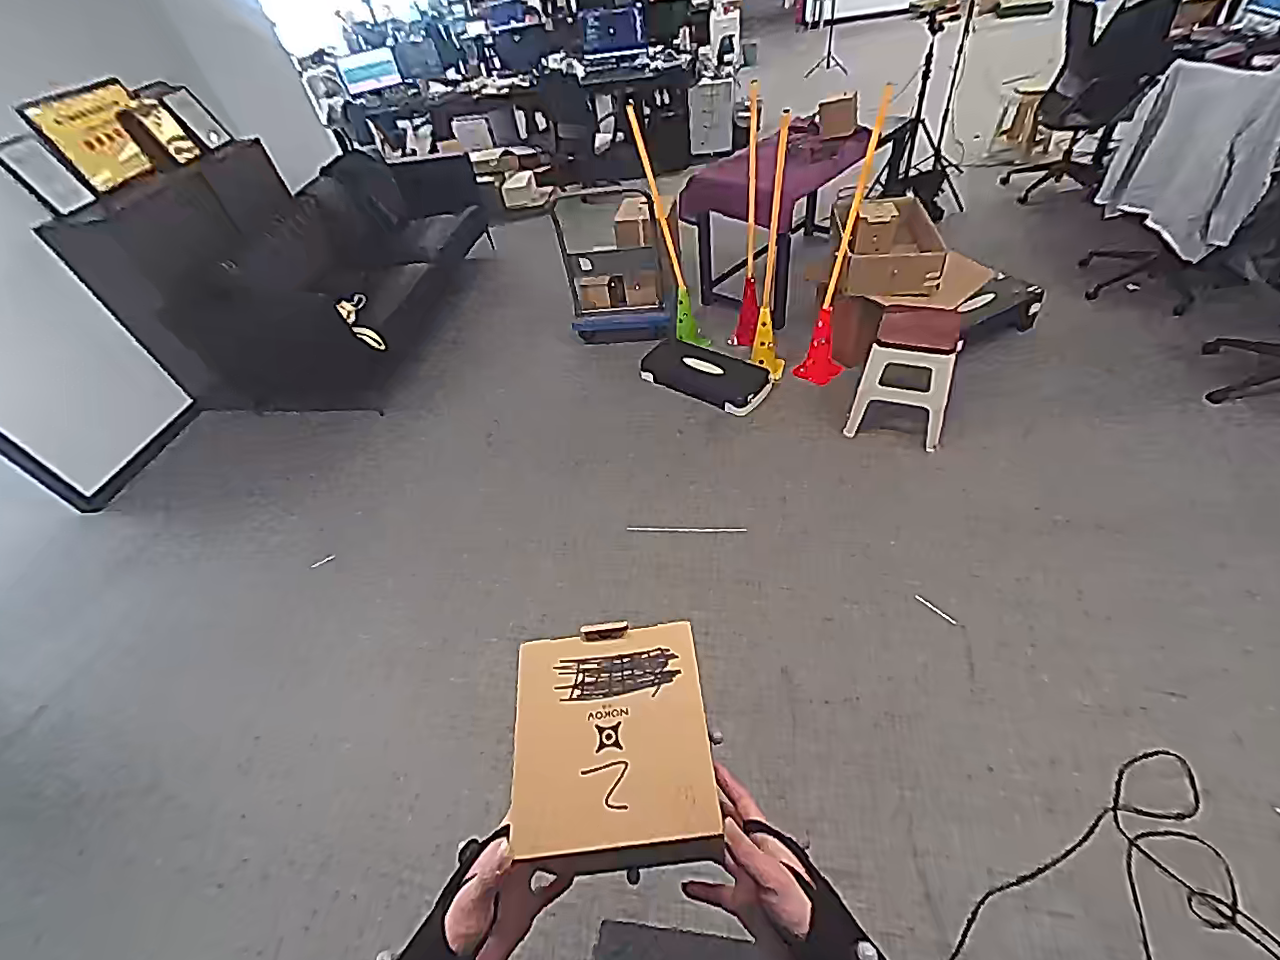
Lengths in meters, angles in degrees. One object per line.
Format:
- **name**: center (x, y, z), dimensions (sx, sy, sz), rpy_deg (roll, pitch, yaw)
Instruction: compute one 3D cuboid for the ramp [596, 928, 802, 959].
- **ramp**: center (0.068, 1.400, 0.902), dimensions (0.509, 0.206, 0.991), rpy_deg (-2, 46, 10)
